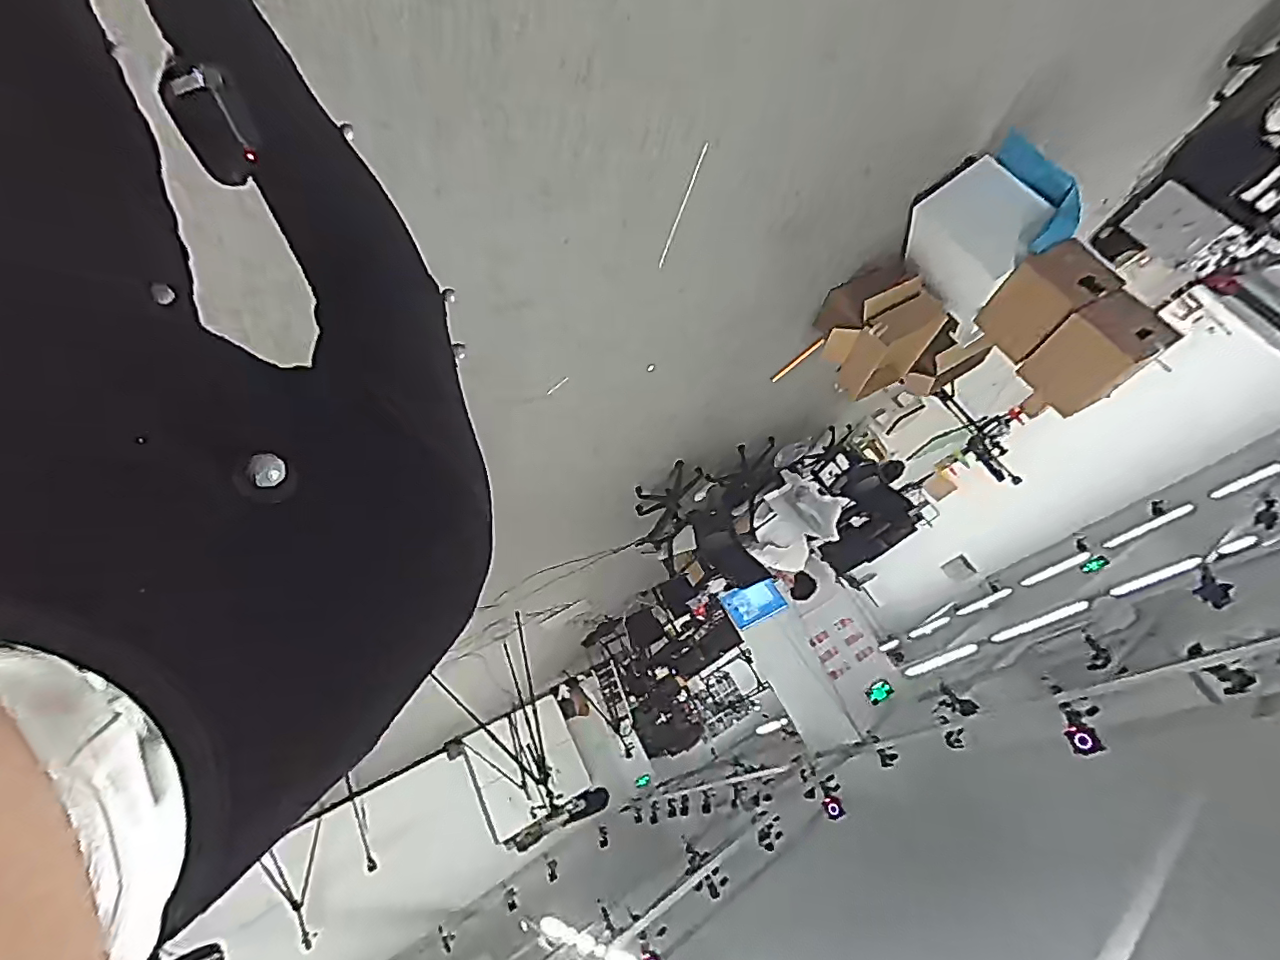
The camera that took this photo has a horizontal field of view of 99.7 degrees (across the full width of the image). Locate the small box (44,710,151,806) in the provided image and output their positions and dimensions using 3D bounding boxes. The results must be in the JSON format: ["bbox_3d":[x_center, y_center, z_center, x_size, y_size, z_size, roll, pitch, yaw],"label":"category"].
[{"bbox_3d":[-1.500,0.765,1.500,0.179,0.176,0.168,-13,153,-37],"label":"small box"}]
